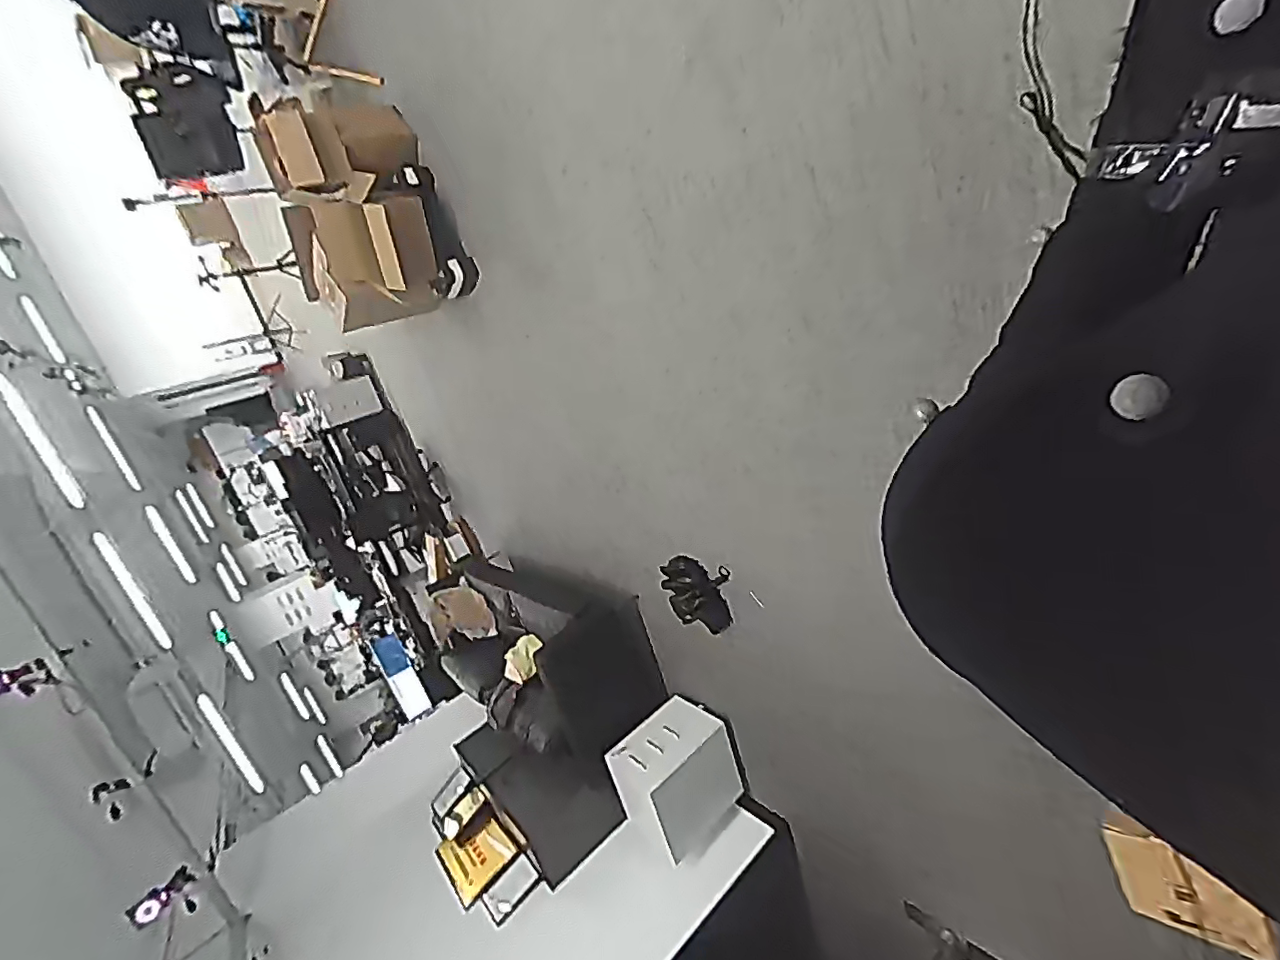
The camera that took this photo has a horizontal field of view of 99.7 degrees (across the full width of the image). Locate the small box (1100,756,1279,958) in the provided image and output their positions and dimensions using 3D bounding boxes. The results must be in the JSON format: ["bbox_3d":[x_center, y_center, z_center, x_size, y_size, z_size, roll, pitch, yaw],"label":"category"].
[{"bbox_3d":[0.893,0.591,0.879,0.168,0.176,0.179,-12,103,57],"label":"small box"}]
